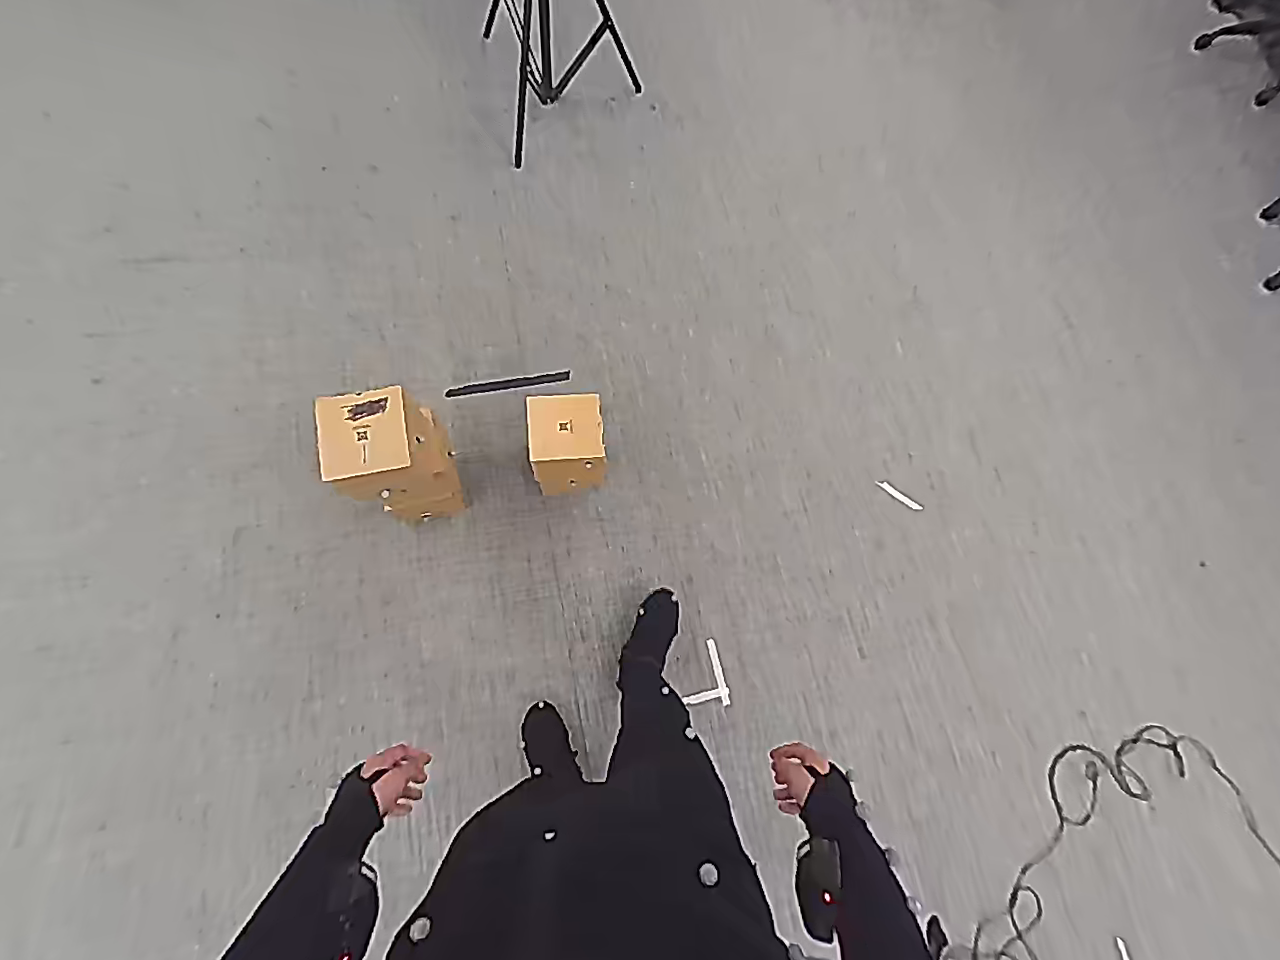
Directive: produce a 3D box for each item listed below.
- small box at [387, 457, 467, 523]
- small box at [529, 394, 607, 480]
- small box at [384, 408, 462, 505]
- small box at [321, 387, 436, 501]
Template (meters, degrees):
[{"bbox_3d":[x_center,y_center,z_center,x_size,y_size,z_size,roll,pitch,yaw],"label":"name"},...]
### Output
[{"bbox_3d":[-0.573,0.001,1.441,0.168,0.176,0.179,-13,76,-9],"label":"small box"},{"bbox_3d":[-0.178,-0.101,1.346,0.179,0.176,0.168,-4,75,-8],"label":"small box"},{"bbox_3d":[-0.543,-0.049,1.288,0.179,0.176,0.168,-14,76,-10],"label":"small box"},{"bbox_3d":[-0.536,-0.069,1.123,0.168,0.176,0.179,-11,76,-8],"label":"small box"}]
